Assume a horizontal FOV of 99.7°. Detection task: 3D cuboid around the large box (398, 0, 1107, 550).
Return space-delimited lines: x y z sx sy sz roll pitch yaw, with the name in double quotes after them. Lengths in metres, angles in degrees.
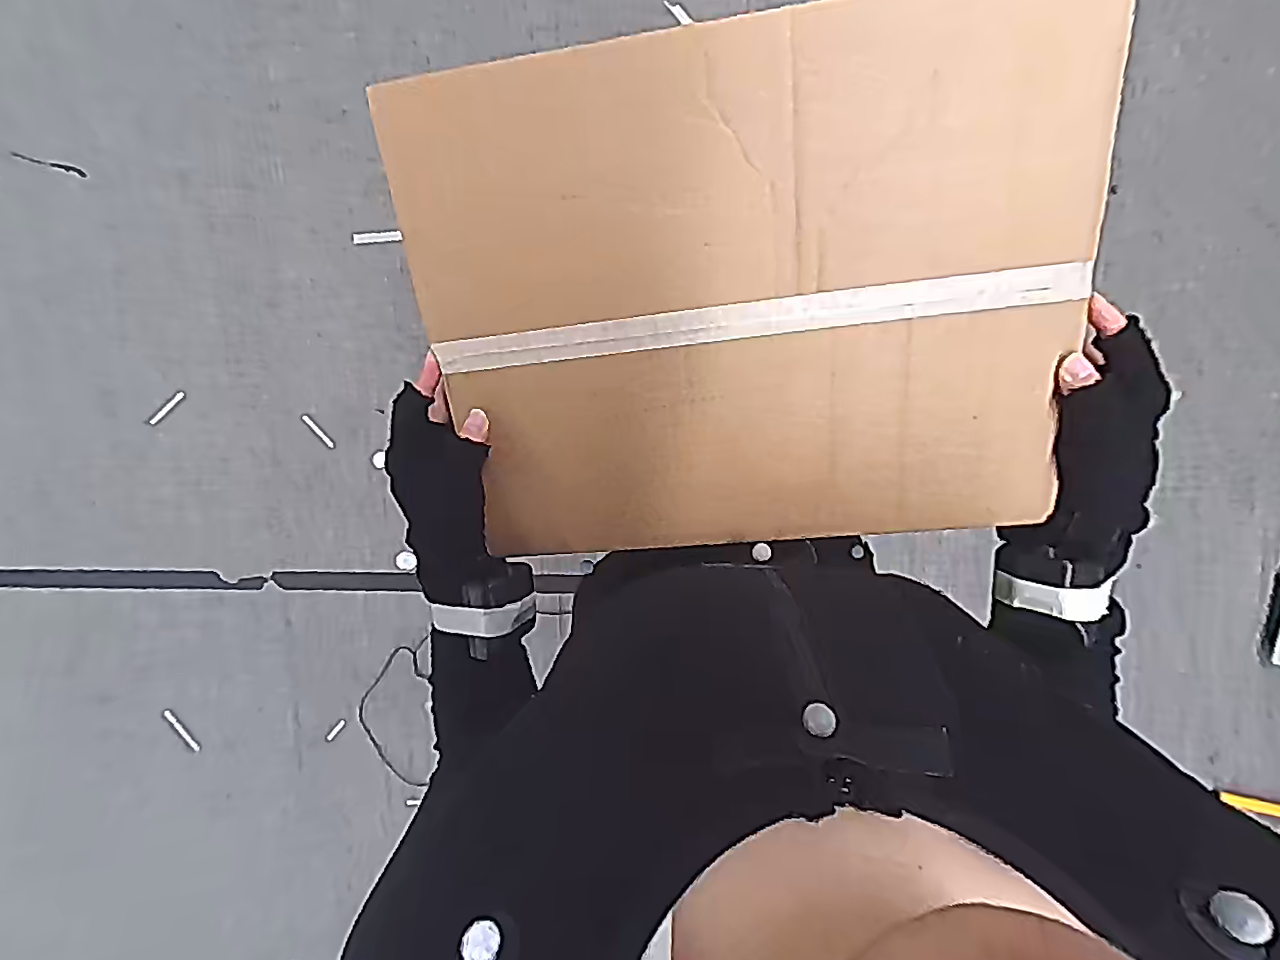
0.077 -0.156 0.492 0.408 0.320 0.320 -5 111 7 "large box"
